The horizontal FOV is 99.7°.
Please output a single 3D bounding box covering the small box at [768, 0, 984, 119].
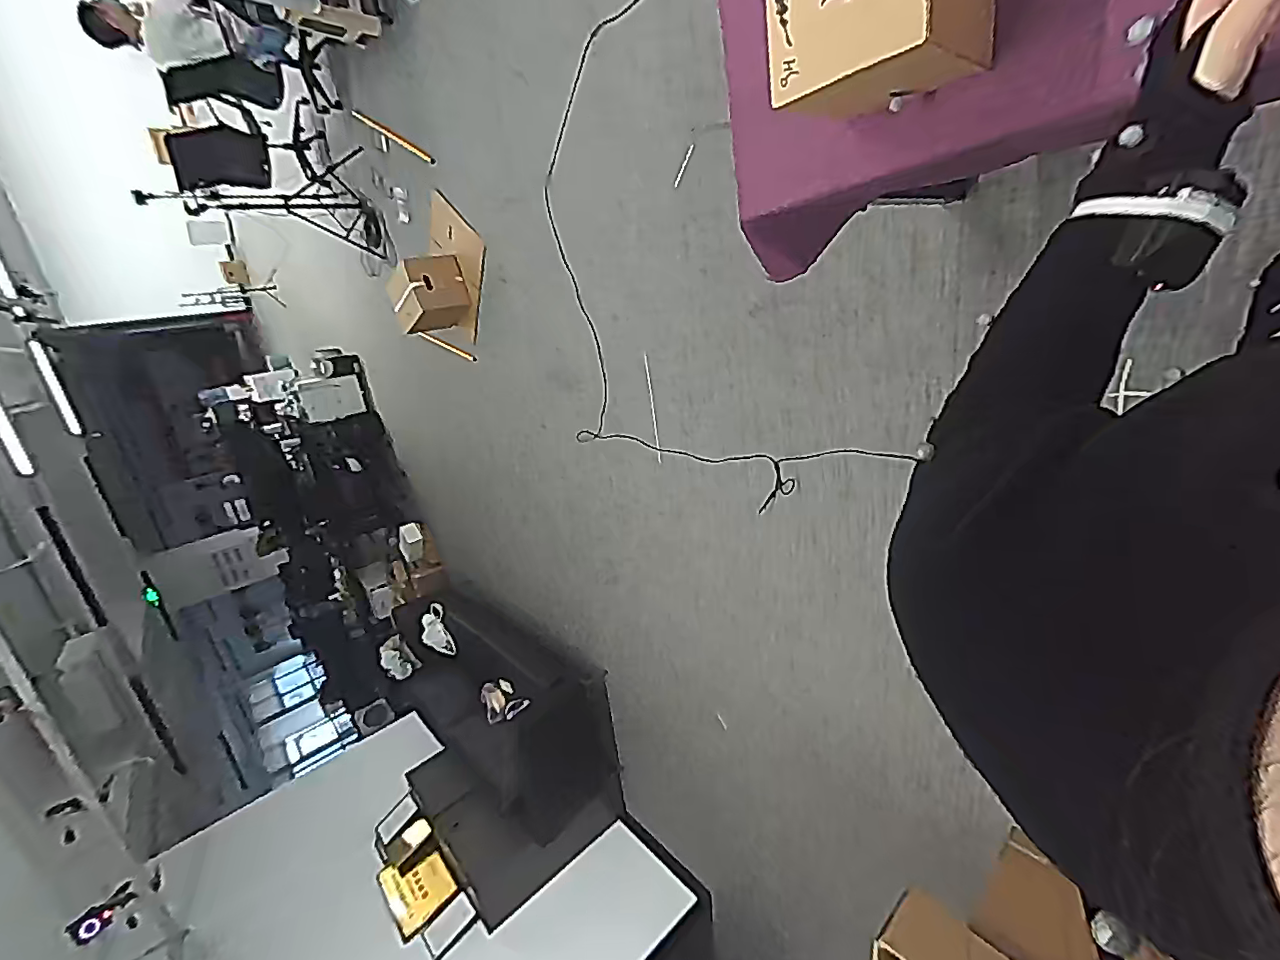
[{"bbox_3d":[0.262,-0.522,0.593,0.179,0.176,0.168,13,117,48],"label":"small box"}]
